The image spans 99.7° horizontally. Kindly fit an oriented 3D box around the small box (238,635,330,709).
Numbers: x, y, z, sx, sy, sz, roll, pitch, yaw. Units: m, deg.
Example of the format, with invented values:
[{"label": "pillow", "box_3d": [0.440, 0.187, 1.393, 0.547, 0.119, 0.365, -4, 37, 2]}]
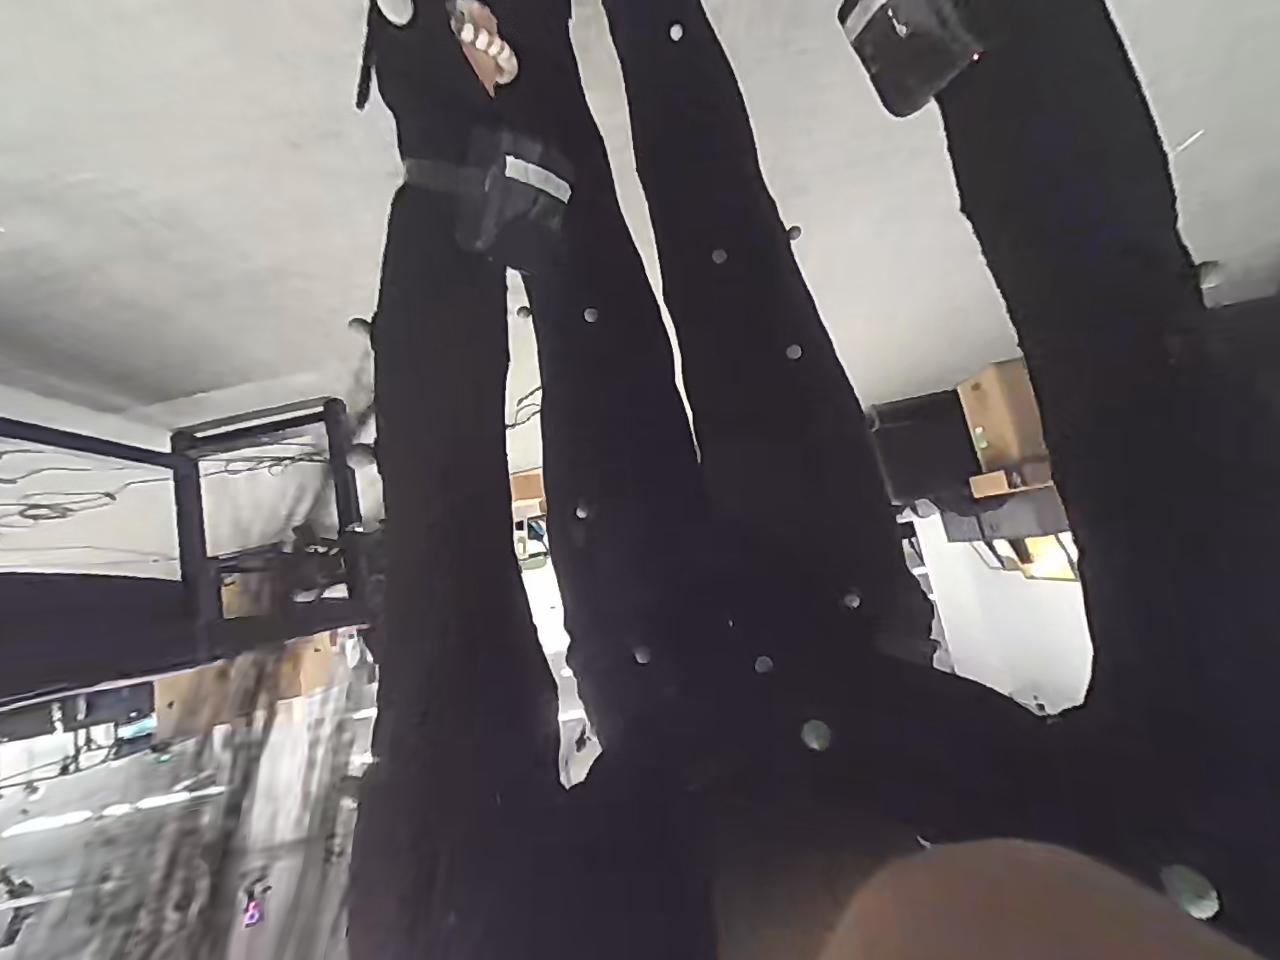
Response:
[{"label": "small box", "box_3d": [-1.052, 0.561, 1.604, 0.179, 0.176, 0.168, -10, 171, -2]}]
